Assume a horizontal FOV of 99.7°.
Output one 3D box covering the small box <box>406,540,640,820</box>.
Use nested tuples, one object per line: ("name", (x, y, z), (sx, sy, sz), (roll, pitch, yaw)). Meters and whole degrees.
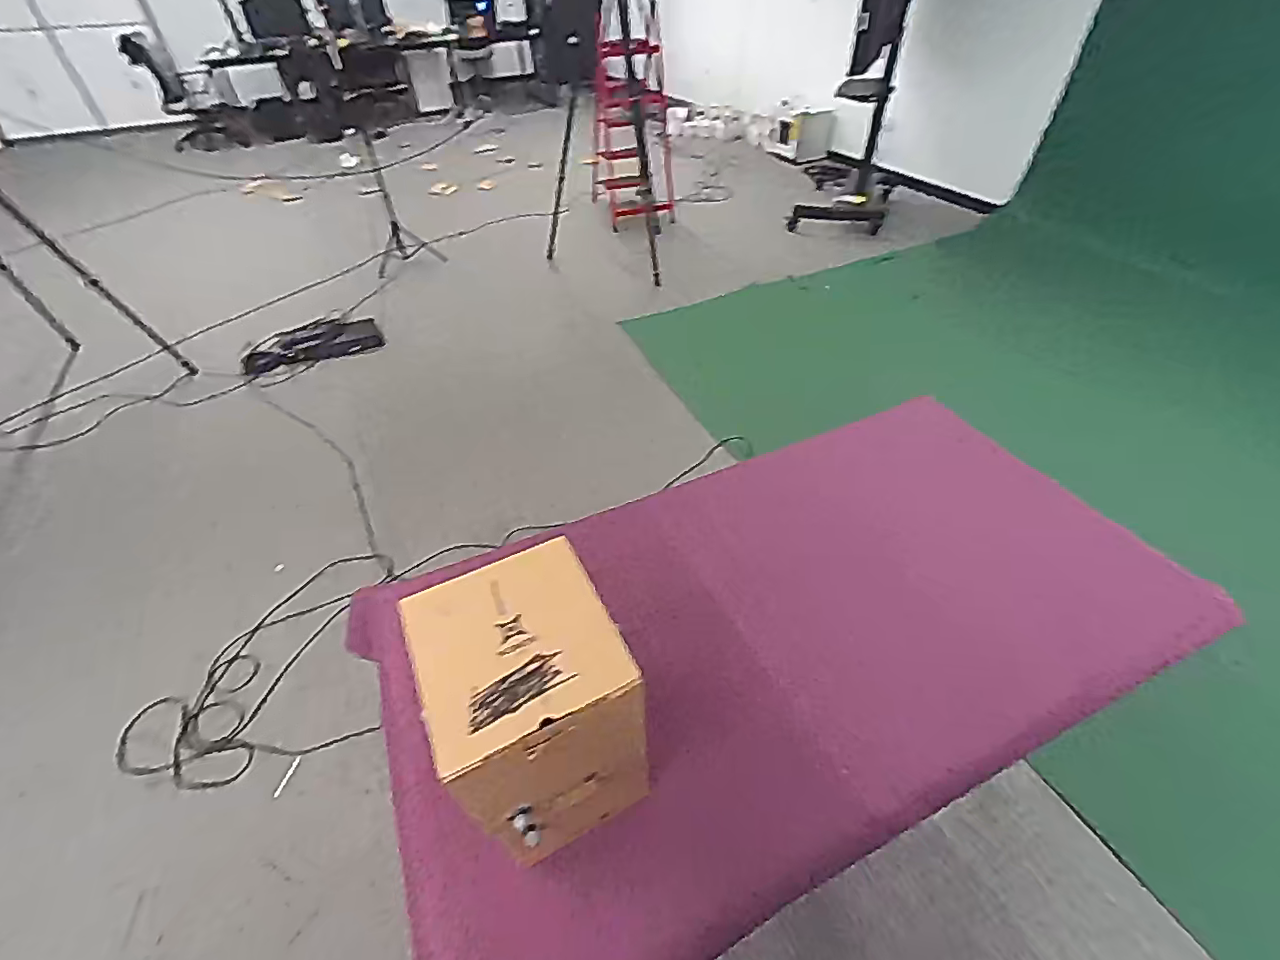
("small box", (-0.106, 0.194, 0.518), (0.168, 0.176, 0.179), (-17, 47, -18))
